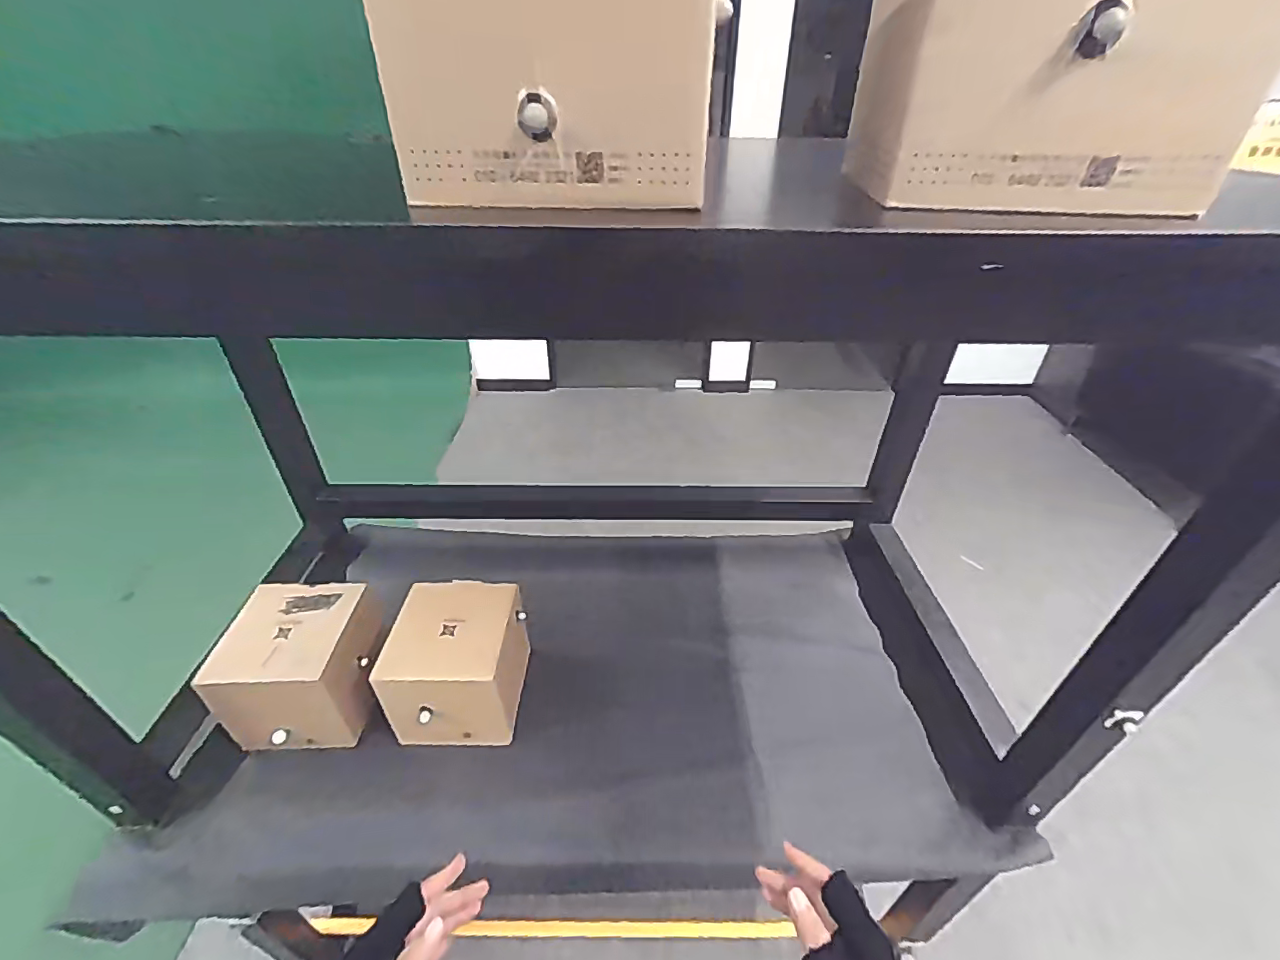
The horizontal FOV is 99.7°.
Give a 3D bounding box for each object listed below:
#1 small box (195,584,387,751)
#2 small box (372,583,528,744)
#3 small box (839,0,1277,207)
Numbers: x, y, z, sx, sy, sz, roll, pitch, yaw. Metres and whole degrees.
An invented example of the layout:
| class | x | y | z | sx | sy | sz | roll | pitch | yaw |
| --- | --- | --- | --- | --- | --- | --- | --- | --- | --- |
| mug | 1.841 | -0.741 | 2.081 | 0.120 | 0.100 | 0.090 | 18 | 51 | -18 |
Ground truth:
| class | x | y | z | sx | sy | sz | roll | pitch | yaw |
| --- | --- | --- | --- | --- | --- | --- | --- | --- | --- |
| small box | -0.498 | 0.277 | 0.811 | 0.168 | 0.176 | 0.179 | -1 | 35 | -1 |
| small box | -0.270 | 0.278 | 0.819 | 0.168 | 0.176 | 0.179 | 1 | 34 | 0 |
| small box | 0.229 | -0.268 | 0.324 | 0.168 | 0.176 | 0.179 | 6 | 35 | 7 |
